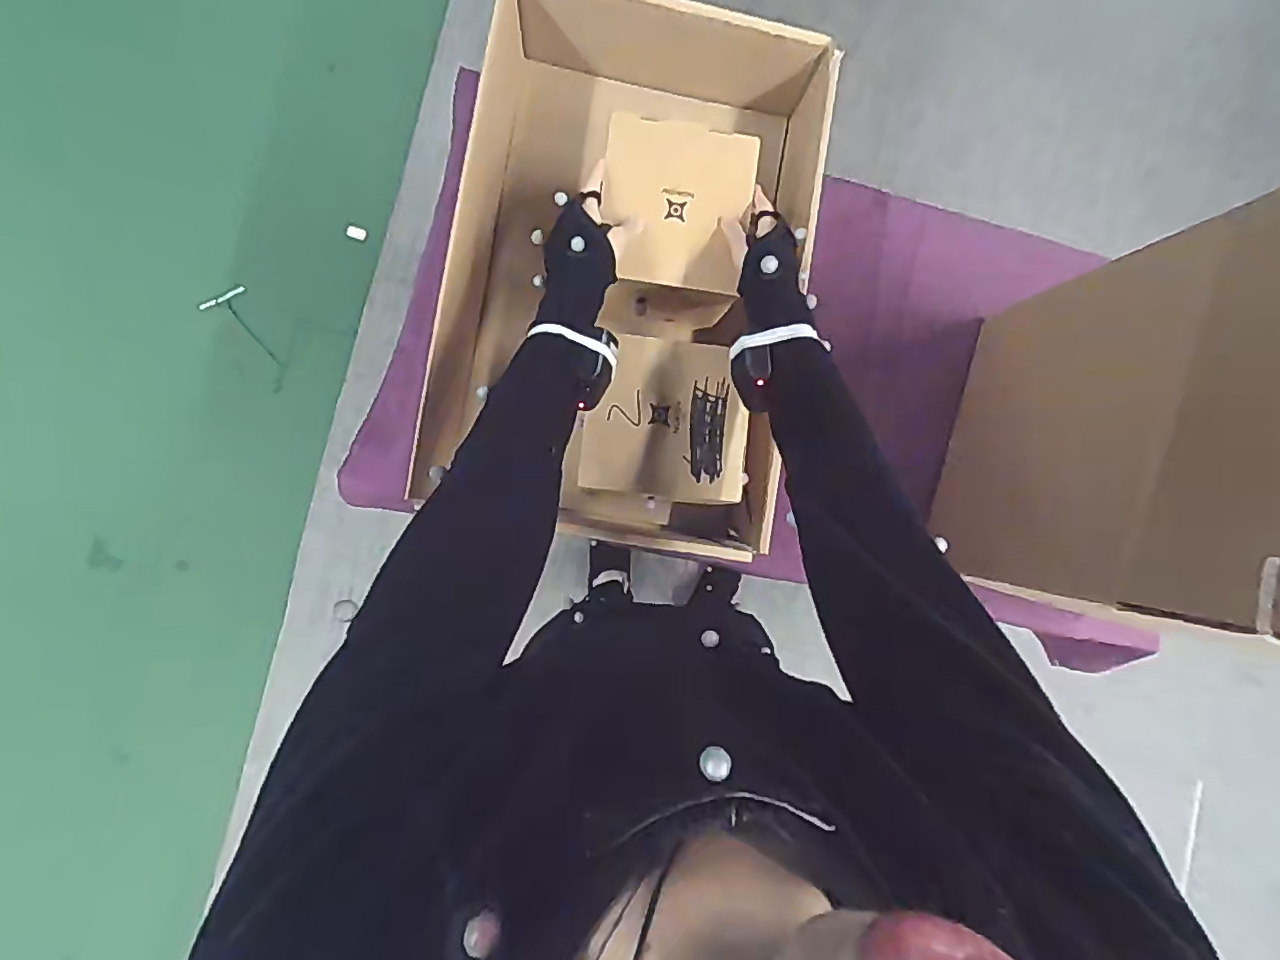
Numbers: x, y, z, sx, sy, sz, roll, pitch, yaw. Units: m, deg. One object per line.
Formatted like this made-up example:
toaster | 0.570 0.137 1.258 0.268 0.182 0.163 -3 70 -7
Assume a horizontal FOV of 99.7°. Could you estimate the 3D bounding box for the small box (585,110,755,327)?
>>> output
small box | 0.028 -0.299 0.659 0.168 0.176 0.179 7 90 -4
